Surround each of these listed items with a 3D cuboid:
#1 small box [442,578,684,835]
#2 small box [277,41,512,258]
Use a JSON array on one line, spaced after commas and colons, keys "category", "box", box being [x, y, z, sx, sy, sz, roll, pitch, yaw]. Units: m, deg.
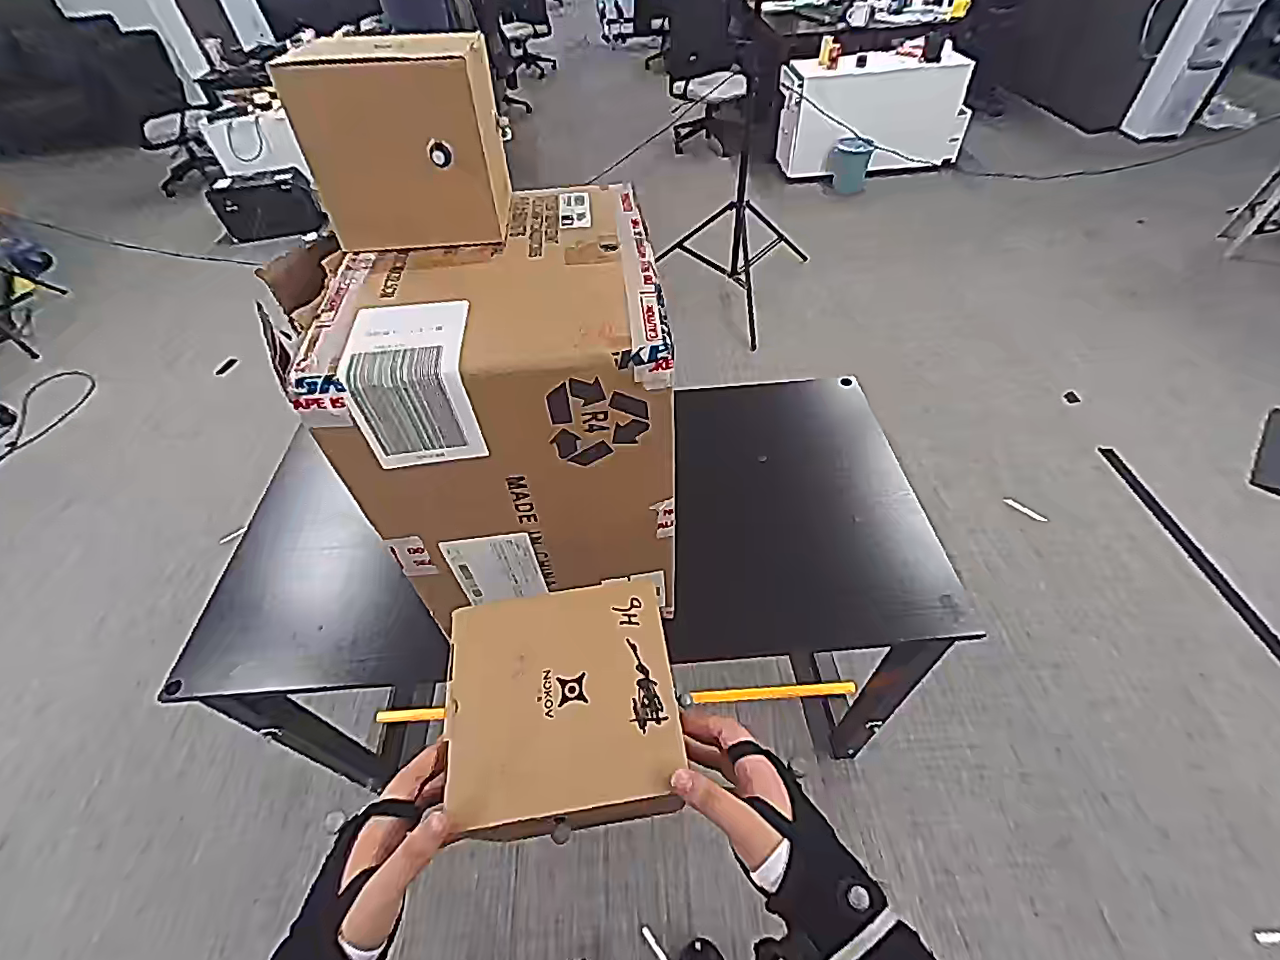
[{"category": "small box", "box": [-0.060, 0.210, 0.492, 0.179, 0.176, 0.168, -7, 54, -4]}, {"category": "small box", "box": [-0.244, -0.364, 0.598, 0.179, 0.176, 0.168, -6, 45, -3]}]
